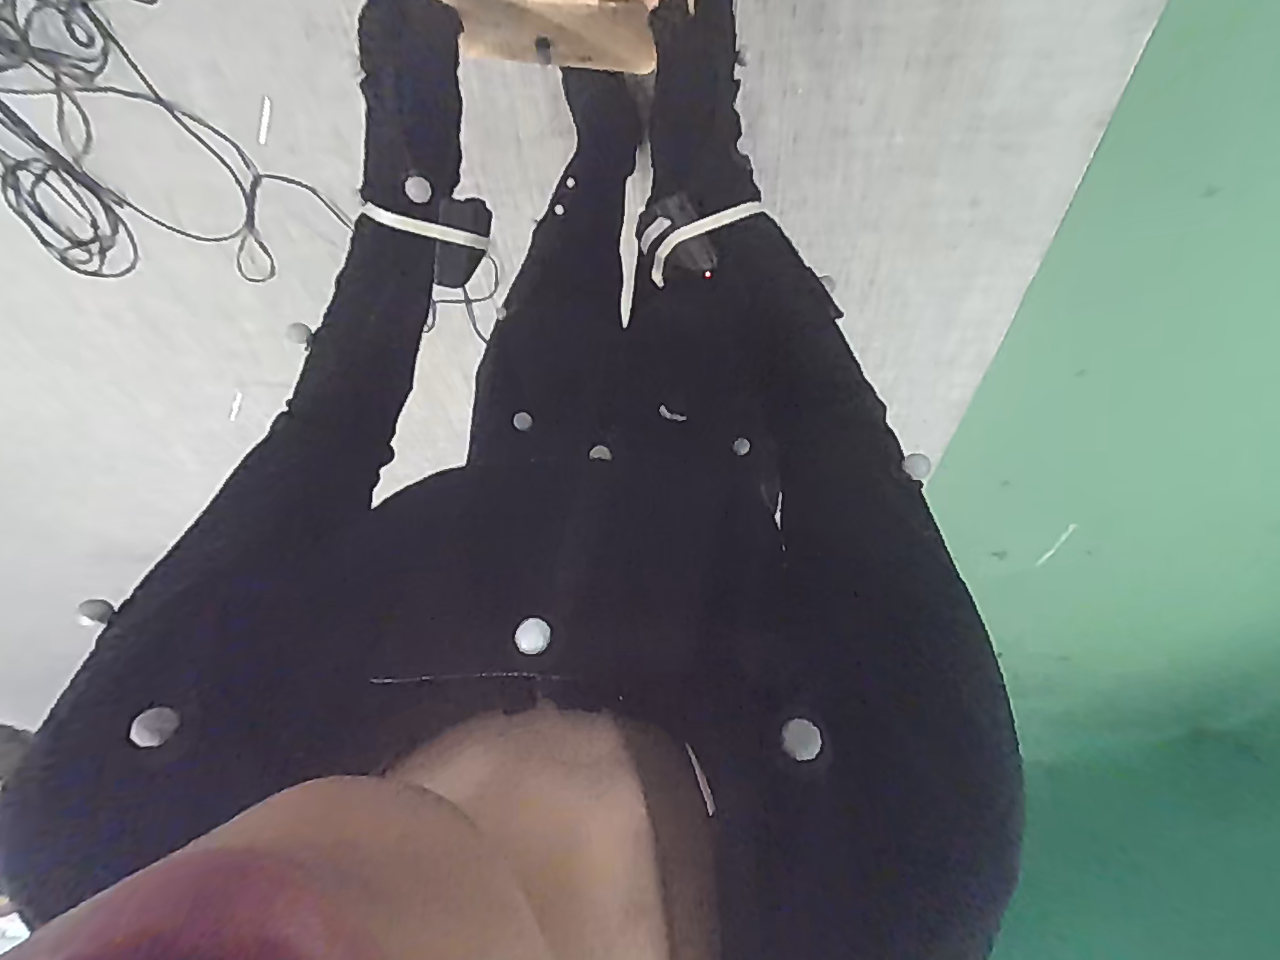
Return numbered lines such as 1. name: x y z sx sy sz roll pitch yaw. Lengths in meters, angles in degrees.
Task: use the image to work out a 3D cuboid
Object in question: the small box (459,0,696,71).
1. small box: -0.051 -0.417 0.376 0.168 0.176 0.179 -1 117 -7
